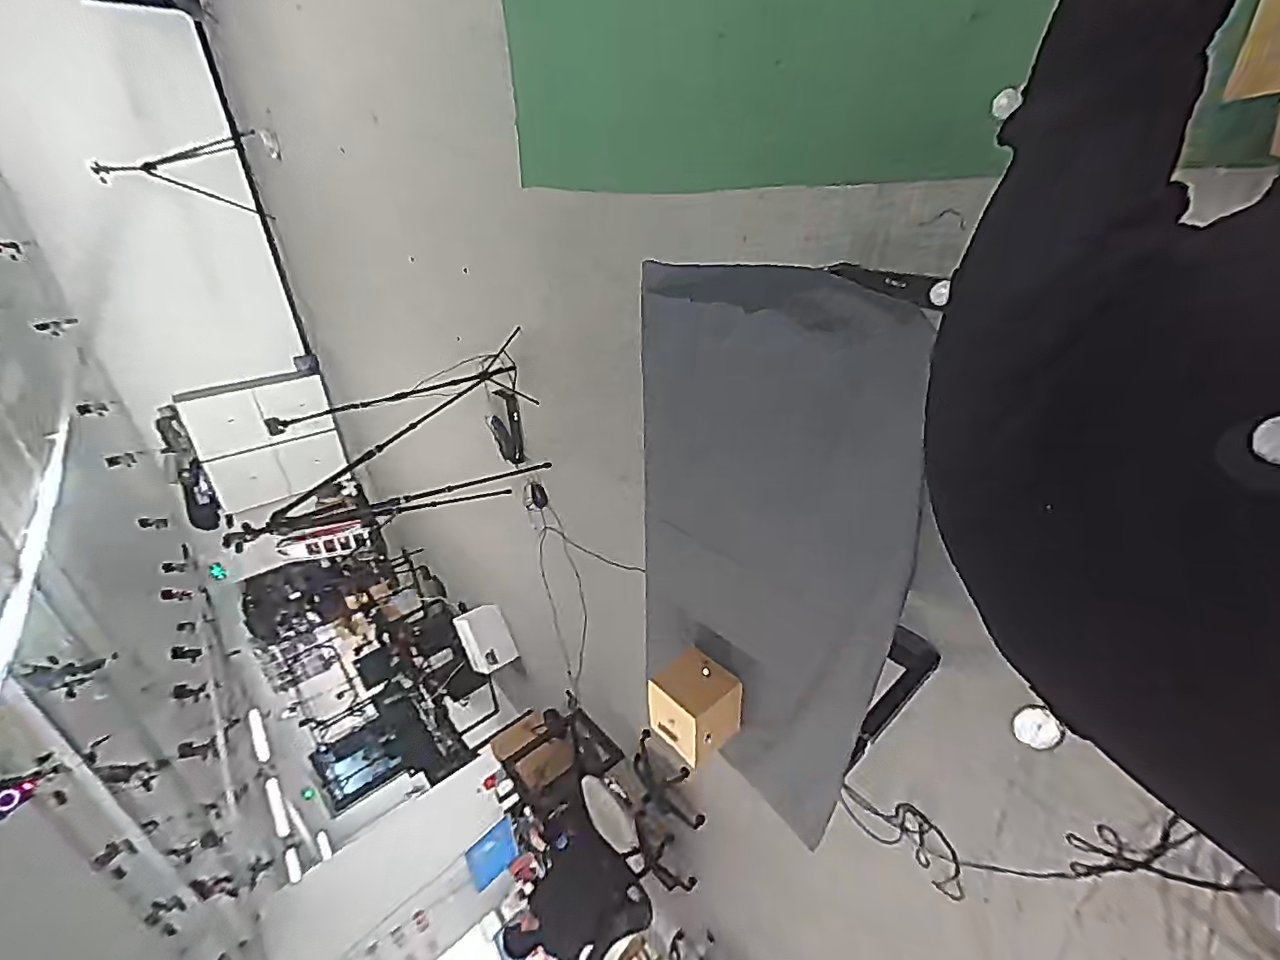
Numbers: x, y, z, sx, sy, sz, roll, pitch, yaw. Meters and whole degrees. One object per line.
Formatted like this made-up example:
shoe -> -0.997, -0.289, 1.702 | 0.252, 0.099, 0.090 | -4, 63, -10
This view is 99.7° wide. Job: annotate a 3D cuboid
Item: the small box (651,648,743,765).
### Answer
small box -> 0.145, 0.566, 1.371 | 0.168, 0.176, 0.179 | 26, 128, 44
